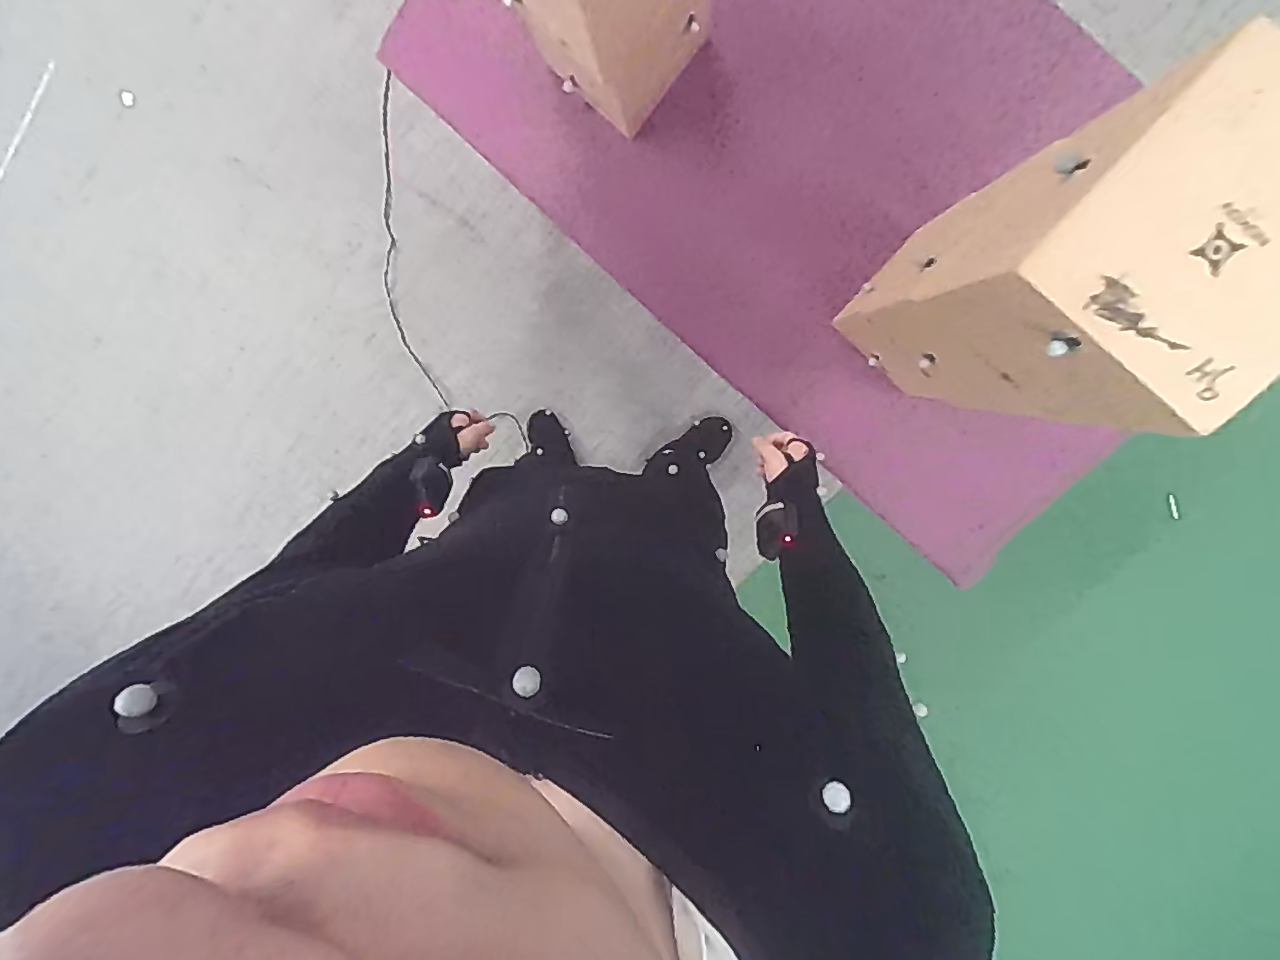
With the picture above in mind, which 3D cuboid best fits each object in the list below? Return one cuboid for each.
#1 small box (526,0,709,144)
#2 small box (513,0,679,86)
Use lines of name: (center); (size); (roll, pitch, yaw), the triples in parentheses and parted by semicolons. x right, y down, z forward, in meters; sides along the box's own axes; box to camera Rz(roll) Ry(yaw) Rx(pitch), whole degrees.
small box: (-0.027, -0.584, 0.689); (0.168, 0.176, 0.179); (41, 102, -3)
small box: (-0.050, -0.548, 0.531); (0.168, 0.176, 0.179); (42, 100, -3)
